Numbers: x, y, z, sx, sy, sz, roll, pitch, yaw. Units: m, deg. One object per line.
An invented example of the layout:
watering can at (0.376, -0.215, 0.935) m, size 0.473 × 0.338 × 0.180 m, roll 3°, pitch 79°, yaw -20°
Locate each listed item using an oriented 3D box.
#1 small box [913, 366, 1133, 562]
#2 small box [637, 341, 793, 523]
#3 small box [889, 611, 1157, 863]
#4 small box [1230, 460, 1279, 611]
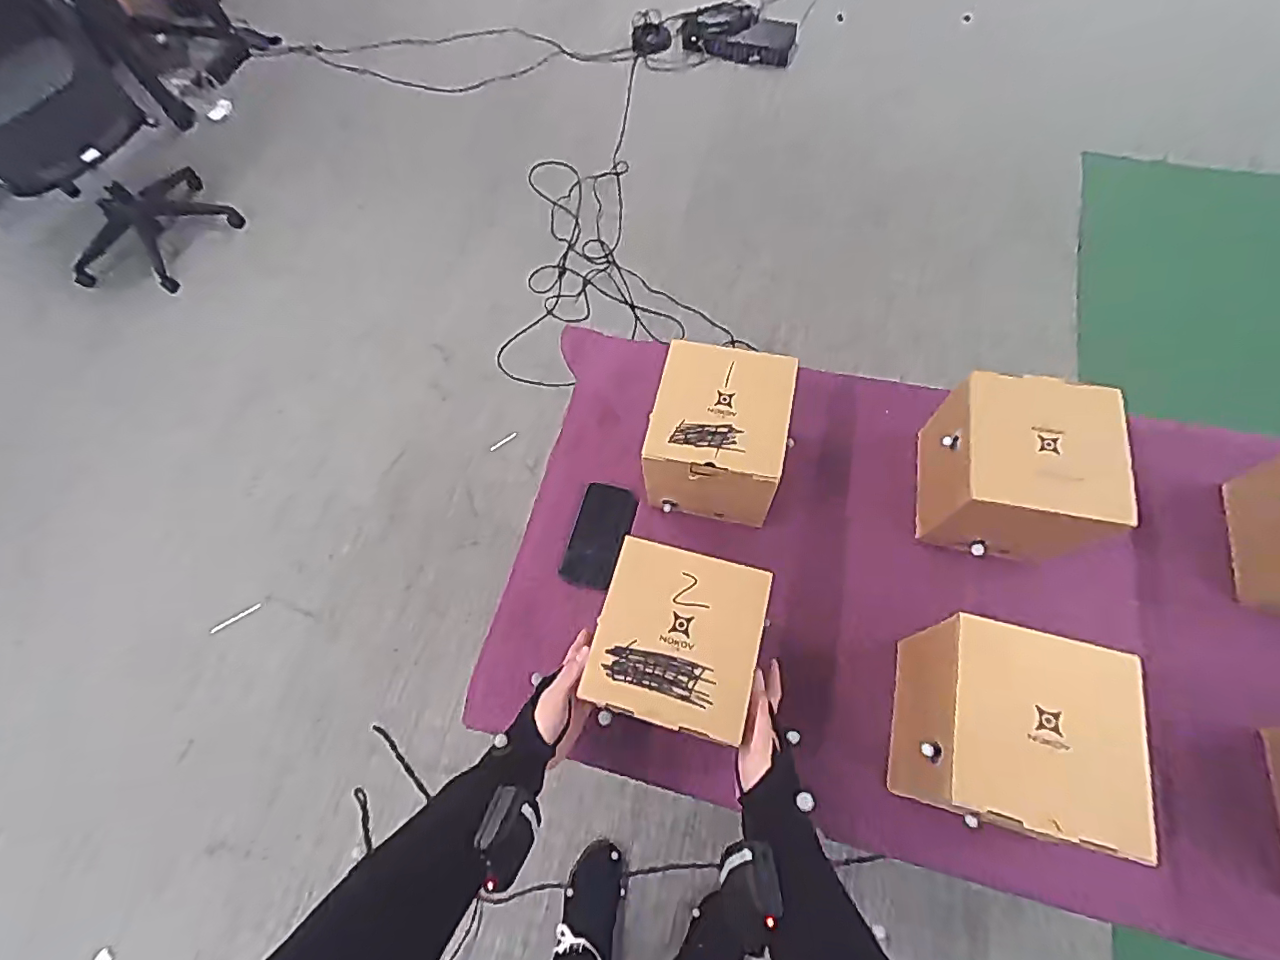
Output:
small box at (0.461, -0.014, 0.680) m, size 0.168 × 0.176 × 0.179 m, roll 10°, pitch 68°, yaw 10°
small box at (0.101, -0.057, 0.730) m, size 0.168 × 0.176 × 0.179 m, roll 10°, pitch 67°, yaw 9°
small box at (0.376, 0.257, 0.564) m, size 0.168 × 0.176 × 0.179 m, roll 13°, pitch 67°, yaw 10°
small box at (0.836, 0.059, 0.611) m, size 0.168 × 0.176 × 0.179 m, roll 12°, pitch 67°, yaw 11°
